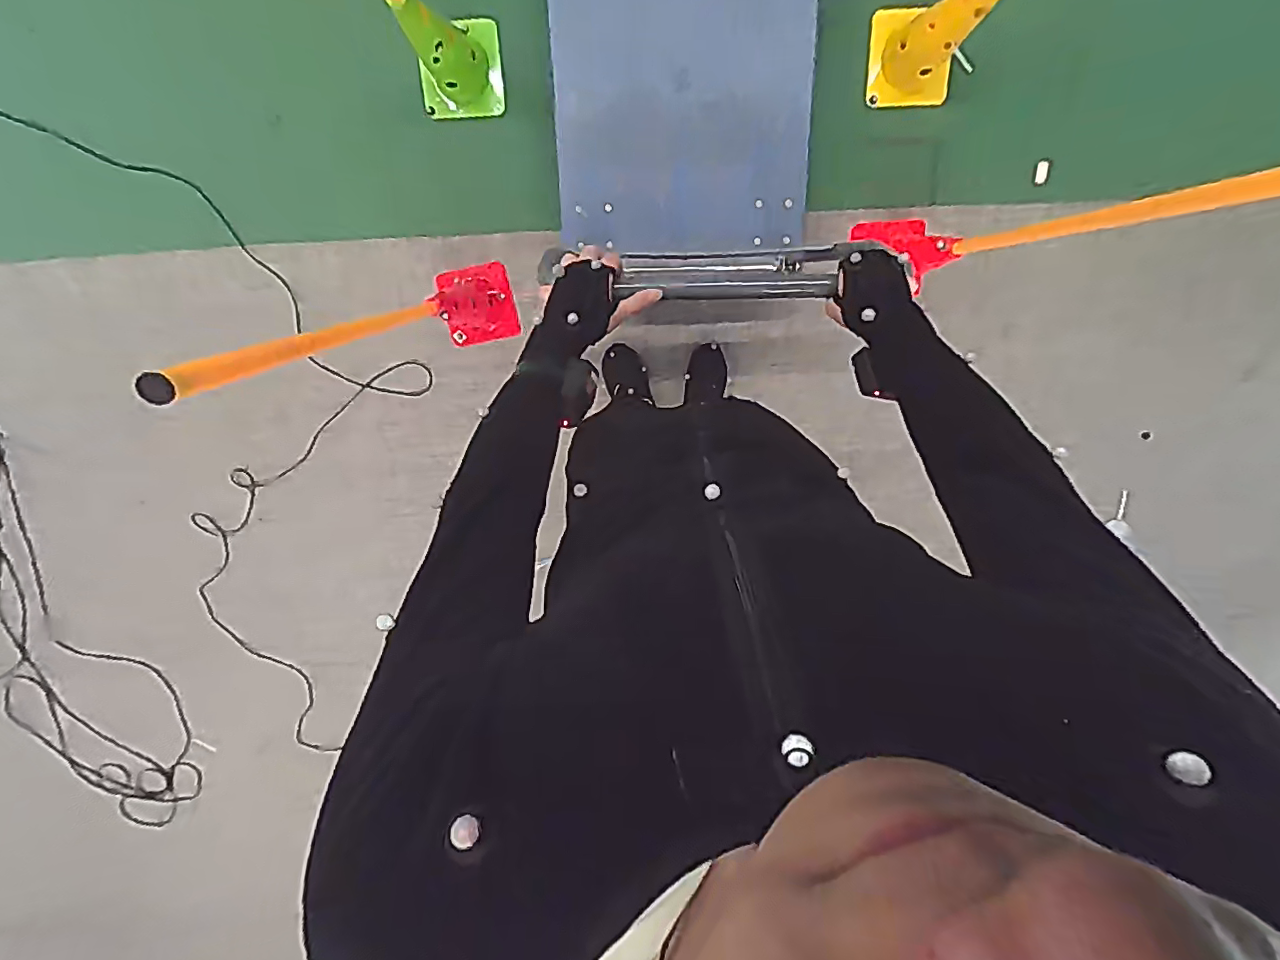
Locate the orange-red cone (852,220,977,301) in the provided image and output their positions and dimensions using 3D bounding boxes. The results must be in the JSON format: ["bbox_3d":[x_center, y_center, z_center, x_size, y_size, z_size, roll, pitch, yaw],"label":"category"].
[{"bbox_3d":[0.667,-0.531,1.271,0.198,0.360,0.199,-2,106,0],"label":"orange-red cone"}]

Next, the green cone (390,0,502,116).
[{"bbox_3d":[-0.440,-0.945,1.137,0.200,0.368,0.202,-2,107,2],"label":"green cone"}]
